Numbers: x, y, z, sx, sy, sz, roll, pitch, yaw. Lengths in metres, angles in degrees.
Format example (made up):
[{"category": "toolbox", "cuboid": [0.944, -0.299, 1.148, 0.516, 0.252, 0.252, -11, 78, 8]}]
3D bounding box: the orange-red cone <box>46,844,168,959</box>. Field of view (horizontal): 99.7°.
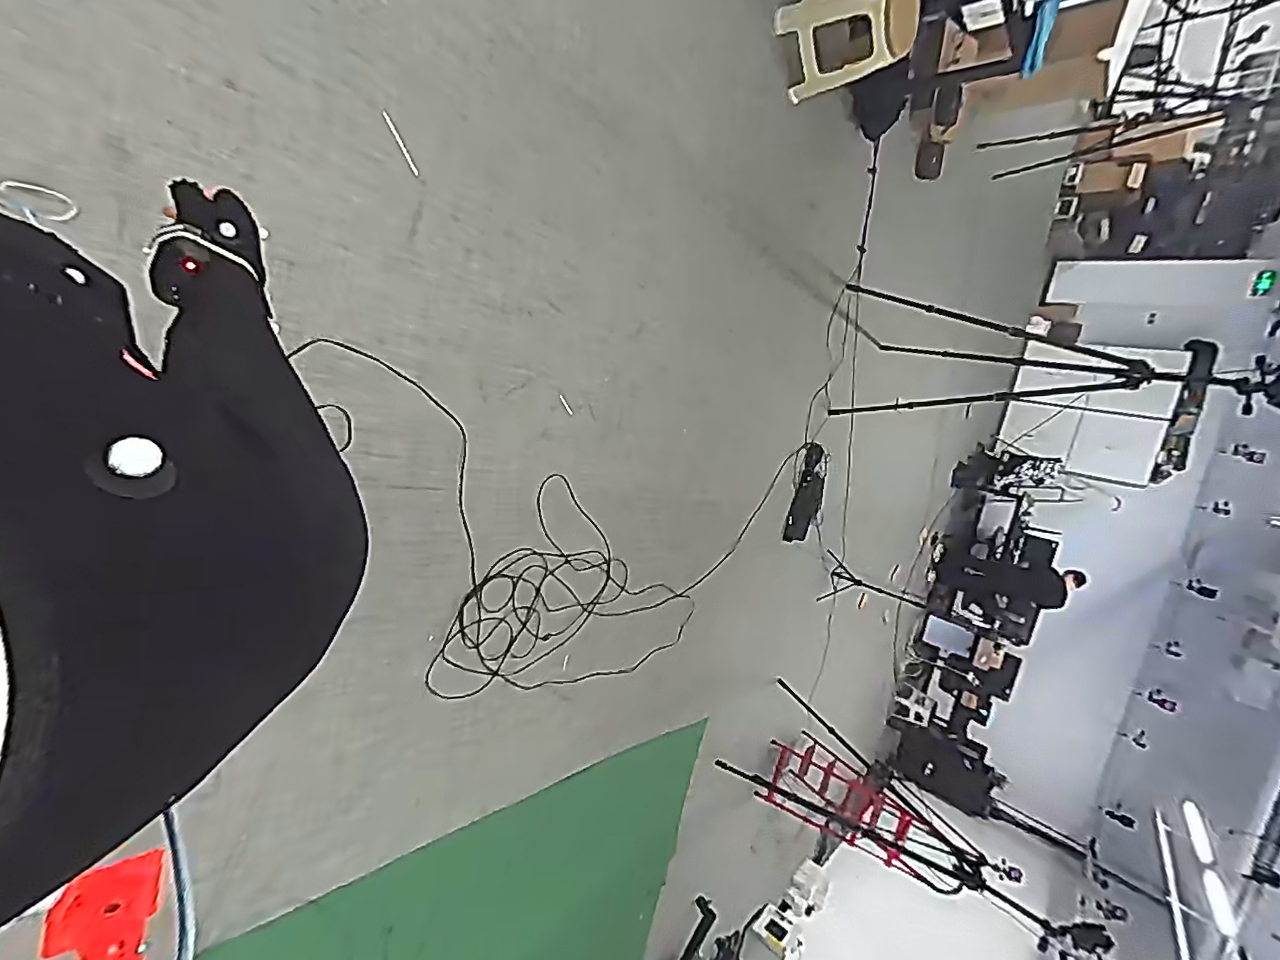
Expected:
[{"category": "orange-red cone", "cuboid": [-1.137, 1.030, 1.179, 0.198, 0.360, 0.199, 6, 99, -51]}]
